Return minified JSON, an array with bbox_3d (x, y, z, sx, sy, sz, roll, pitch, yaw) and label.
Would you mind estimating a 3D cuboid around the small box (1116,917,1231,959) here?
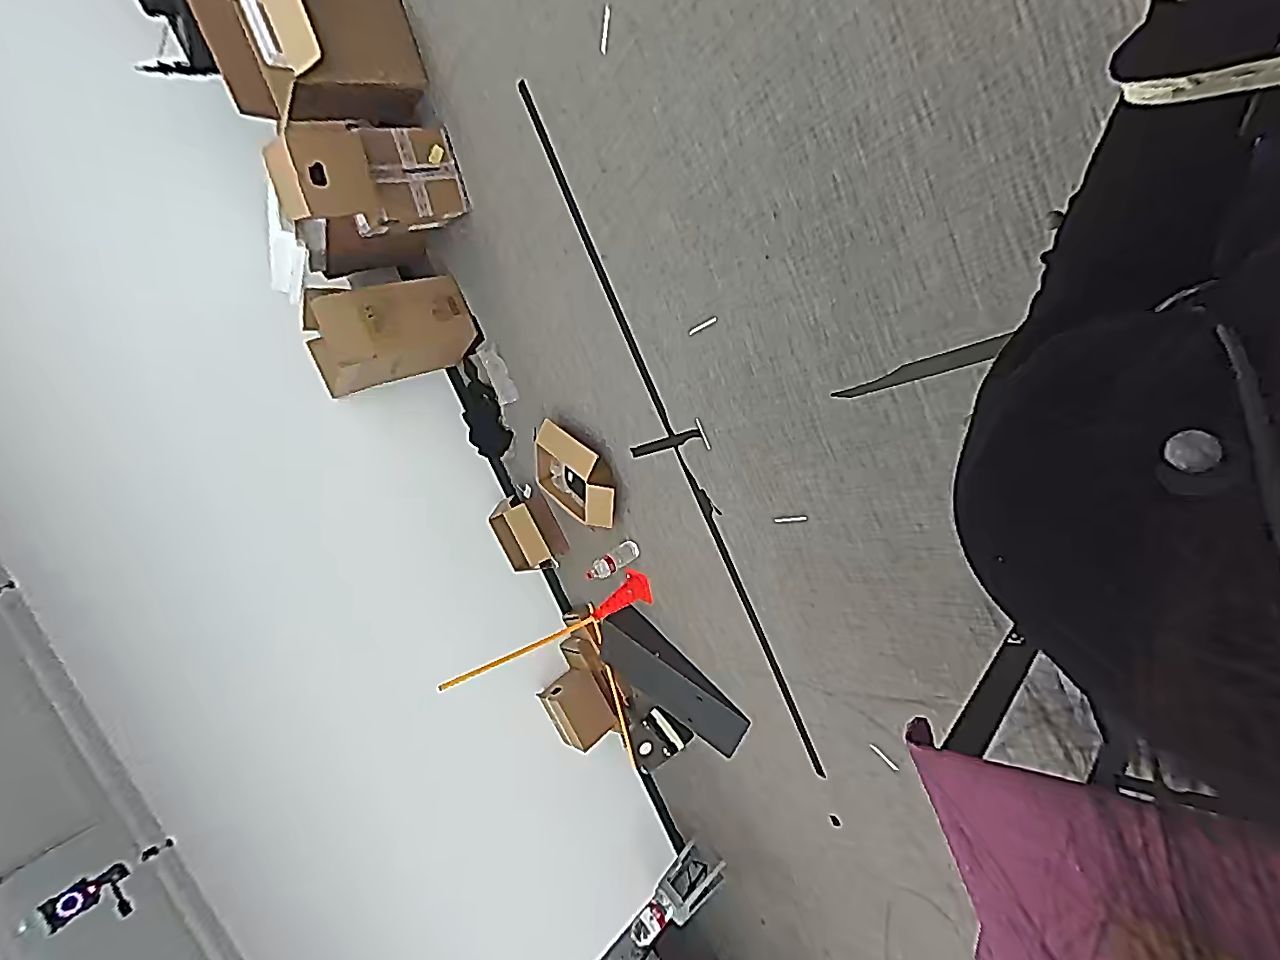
[{"bbox_3d":[0.798,0.798,0.772,0.168,0.176,0.179,-4,110,53],"label":"small box"}]
